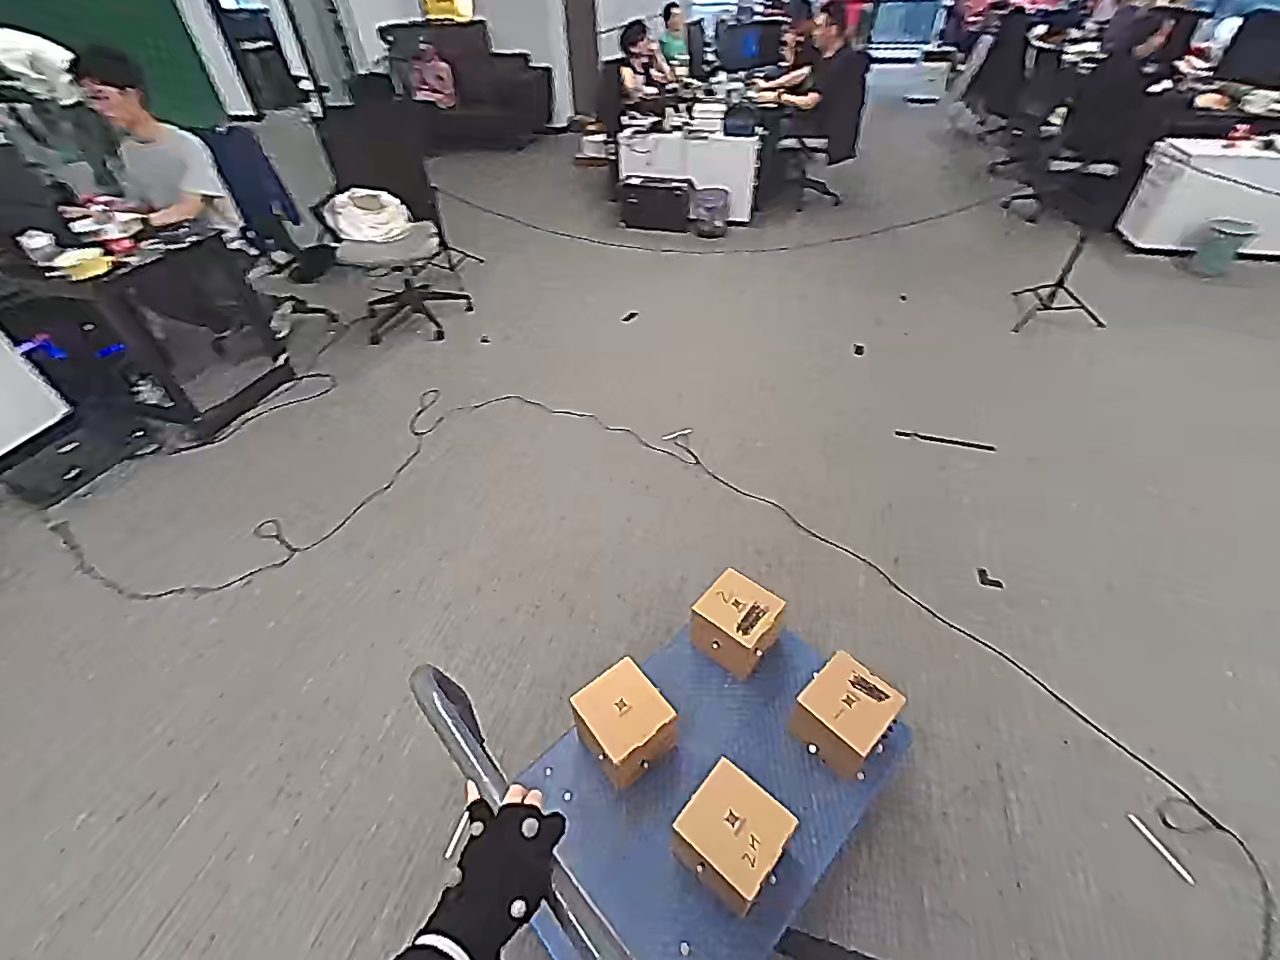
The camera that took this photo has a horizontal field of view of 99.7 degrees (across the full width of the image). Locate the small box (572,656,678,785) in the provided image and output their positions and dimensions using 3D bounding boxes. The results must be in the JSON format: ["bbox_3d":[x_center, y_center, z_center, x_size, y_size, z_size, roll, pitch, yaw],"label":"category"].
[{"bbox_3d":[-0.035,0.543,1.220,0.168,0.176,0.179,-29,51,-26],"label":"small box"}]

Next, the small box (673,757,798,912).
[{"bbox_3d":[0.177,0.692,1.054,0.179,0.176,0.168,32,53,30],"label":"small box"}]

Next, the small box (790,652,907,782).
[{"bbox_3d":[0.458,0.531,1.213,0.179,0.176,0.168,-33,52,-27],"label":"small box"}]
